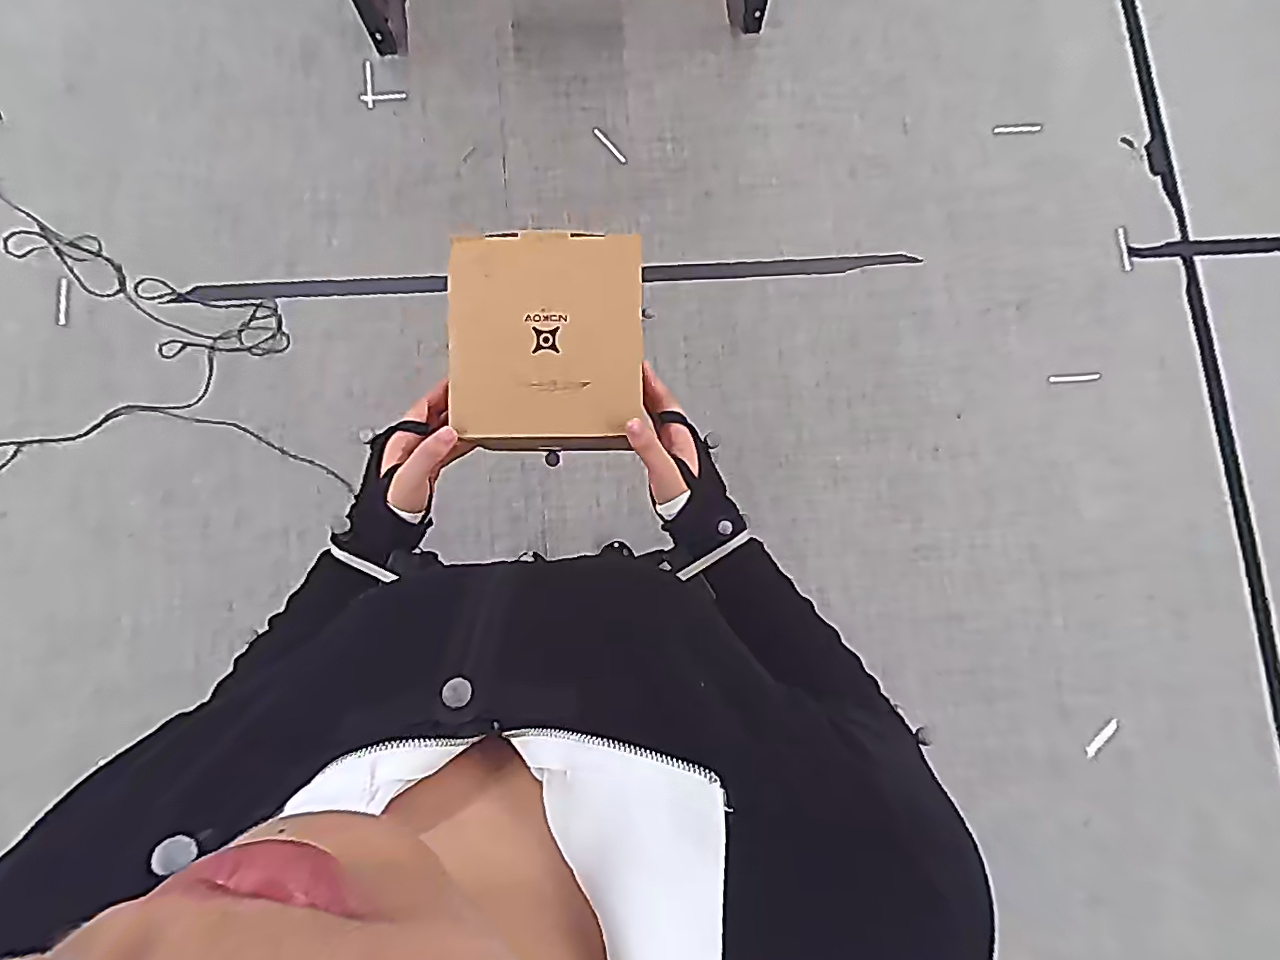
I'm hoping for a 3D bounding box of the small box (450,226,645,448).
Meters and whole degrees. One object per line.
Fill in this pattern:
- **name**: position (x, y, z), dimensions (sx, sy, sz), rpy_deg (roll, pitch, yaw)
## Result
- **small box**: position (-0.081, -0.127, 0.538), dimensions (0.168, 0.176, 0.179), rpy_deg (-1, 89, -1)
